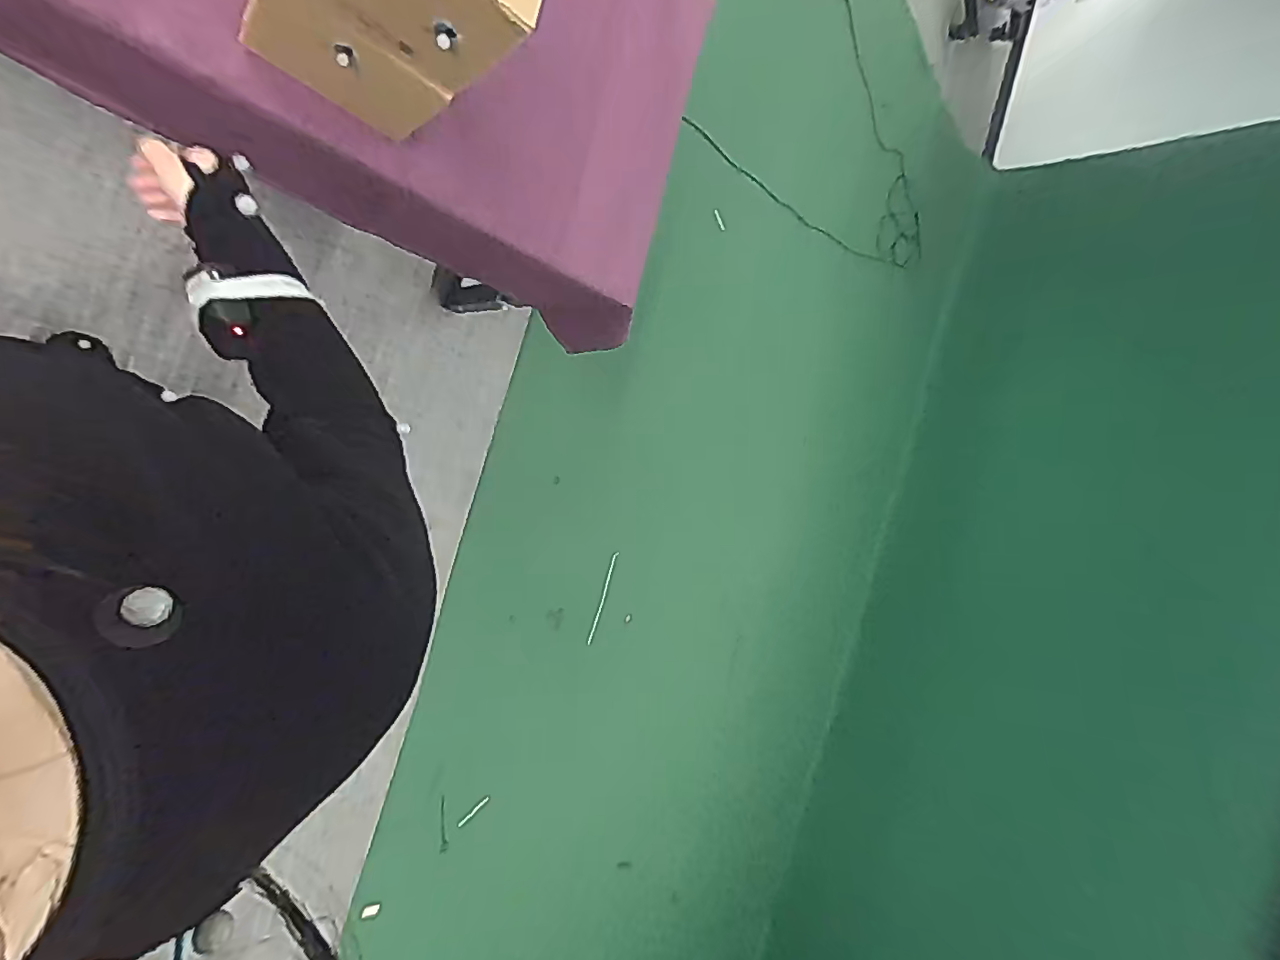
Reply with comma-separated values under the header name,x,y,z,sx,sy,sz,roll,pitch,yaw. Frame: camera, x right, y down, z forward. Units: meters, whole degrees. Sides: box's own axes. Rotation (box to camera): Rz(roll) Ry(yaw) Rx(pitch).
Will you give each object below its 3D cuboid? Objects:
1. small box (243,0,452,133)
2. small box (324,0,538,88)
name,x,y,z,sx,sy,sz,roll,pitch,yaw
small box,-0.302,-0.521,0.589,0.179,0.176,0.168,16,90,-45
small box,-0.188,-0.497,0.475,0.168,0.176,0.179,13,91,-46
